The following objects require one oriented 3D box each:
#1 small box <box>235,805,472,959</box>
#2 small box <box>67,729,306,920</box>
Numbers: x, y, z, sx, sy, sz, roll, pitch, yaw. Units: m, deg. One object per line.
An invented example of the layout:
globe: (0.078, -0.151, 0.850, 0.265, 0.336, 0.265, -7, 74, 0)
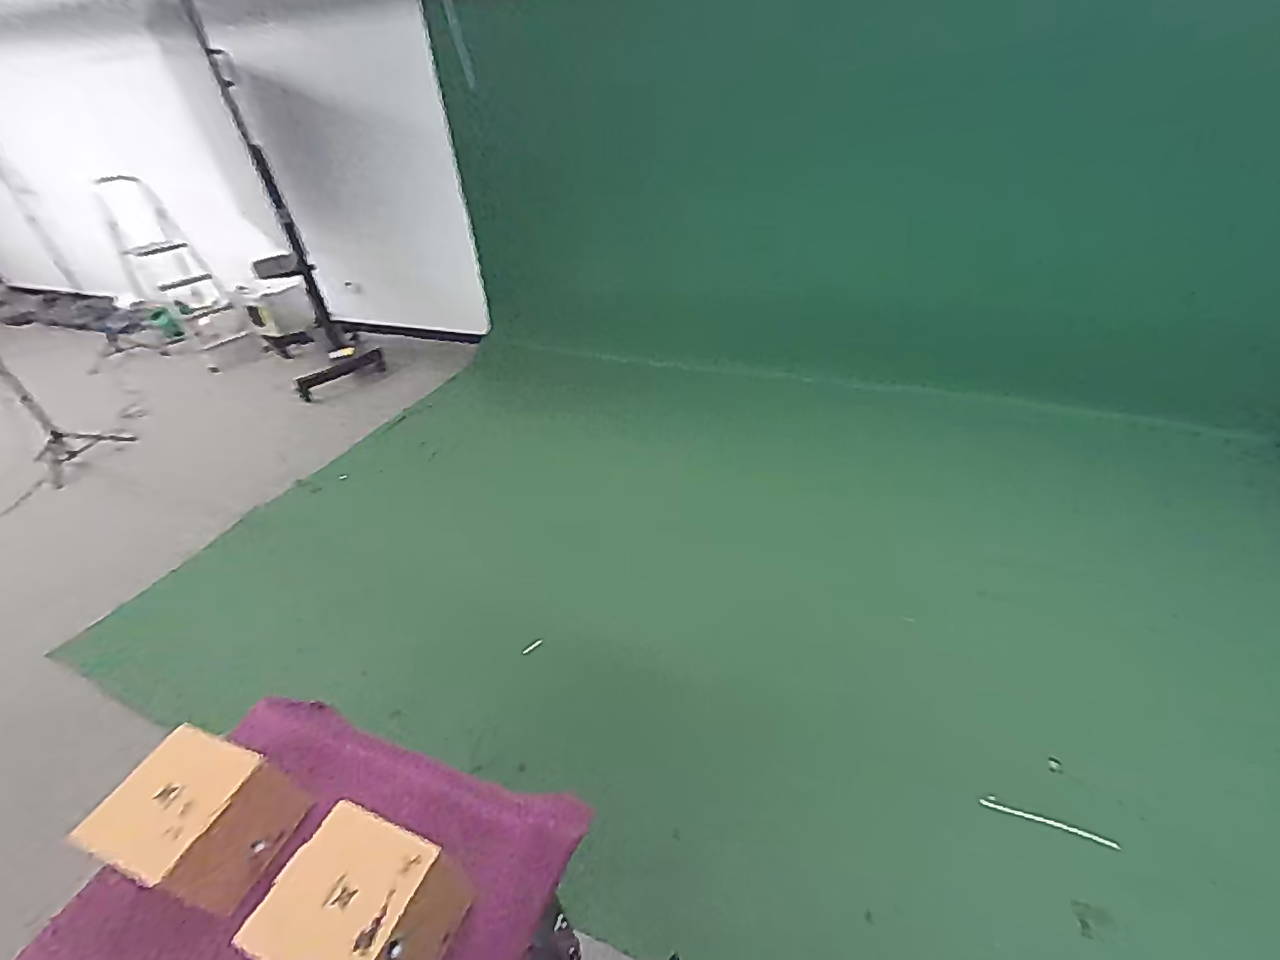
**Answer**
small box: (-0.350, 0.565, 0.693, 0.179, 0.176, 0.168, 9, 40, 21)
small box: (-0.647, 0.506, 0.796, 0.179, 0.176, 0.168, 10, 42, 17)
